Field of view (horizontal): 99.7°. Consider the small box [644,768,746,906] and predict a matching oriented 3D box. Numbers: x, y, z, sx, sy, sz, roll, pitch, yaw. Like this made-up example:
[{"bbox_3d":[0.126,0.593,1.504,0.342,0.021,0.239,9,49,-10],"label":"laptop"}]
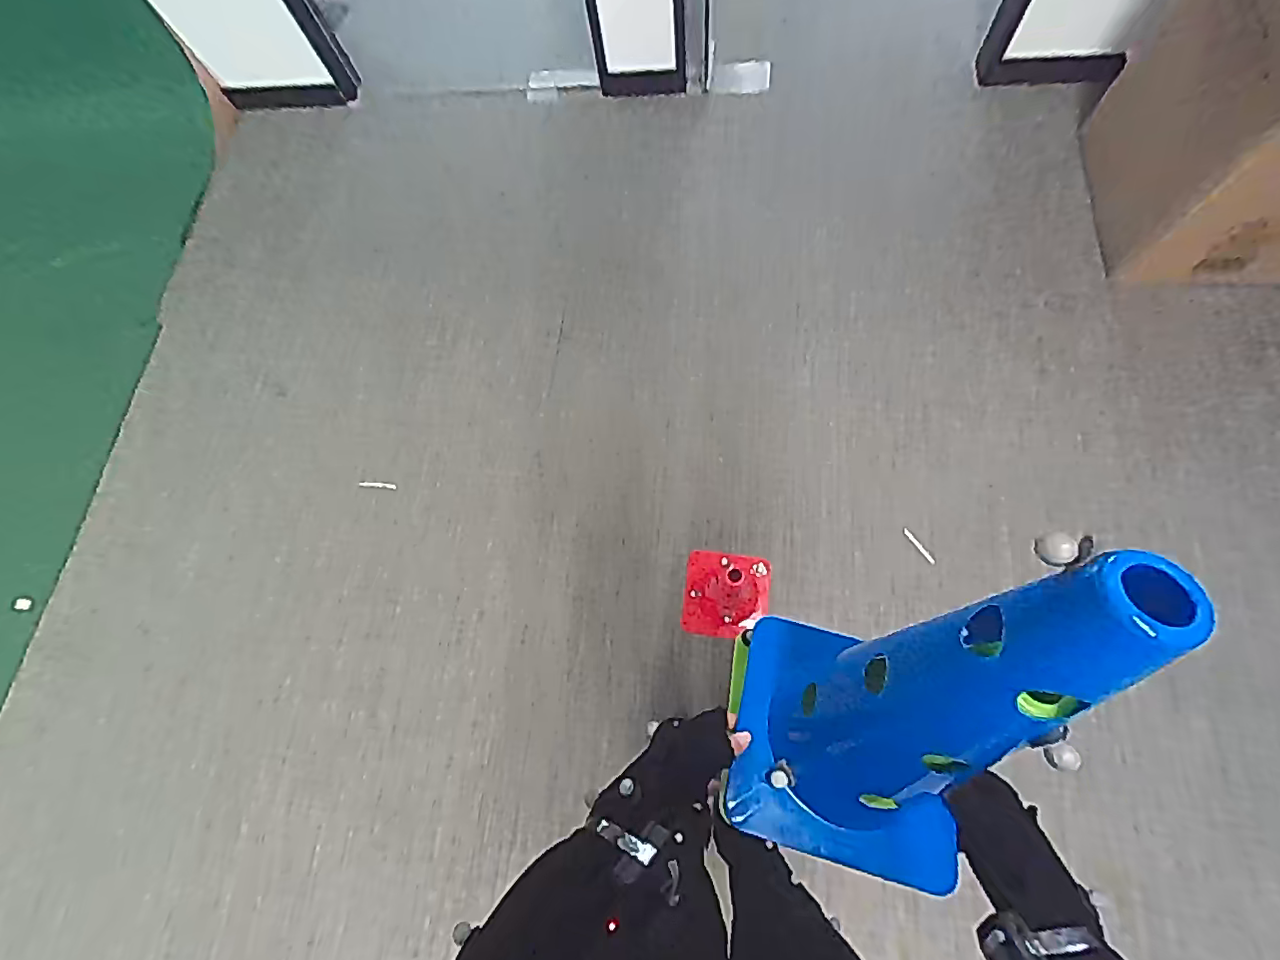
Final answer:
[{"bbox_3d":[0.106,0.726,1.116,0.168,0.176,0.179,13,76,-3],"label":"small box"}]
